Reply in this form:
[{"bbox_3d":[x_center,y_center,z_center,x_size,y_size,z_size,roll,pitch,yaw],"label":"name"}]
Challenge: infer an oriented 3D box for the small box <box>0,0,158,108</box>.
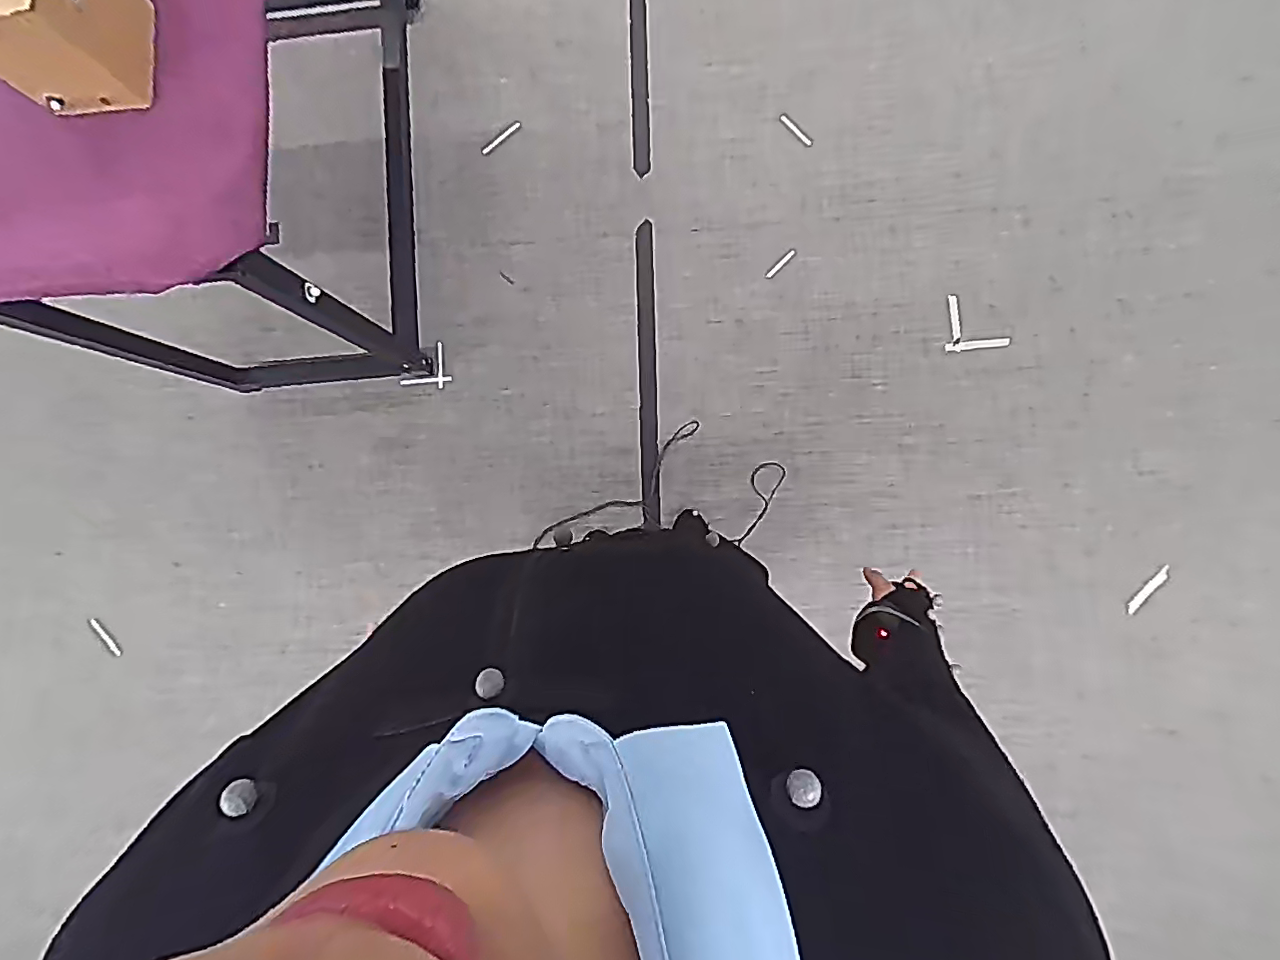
[{"bbox_3d":[-0.860,-0.681,0.792,0.168,0.176,0.179,-3,86,3],"label":"small box"}]
